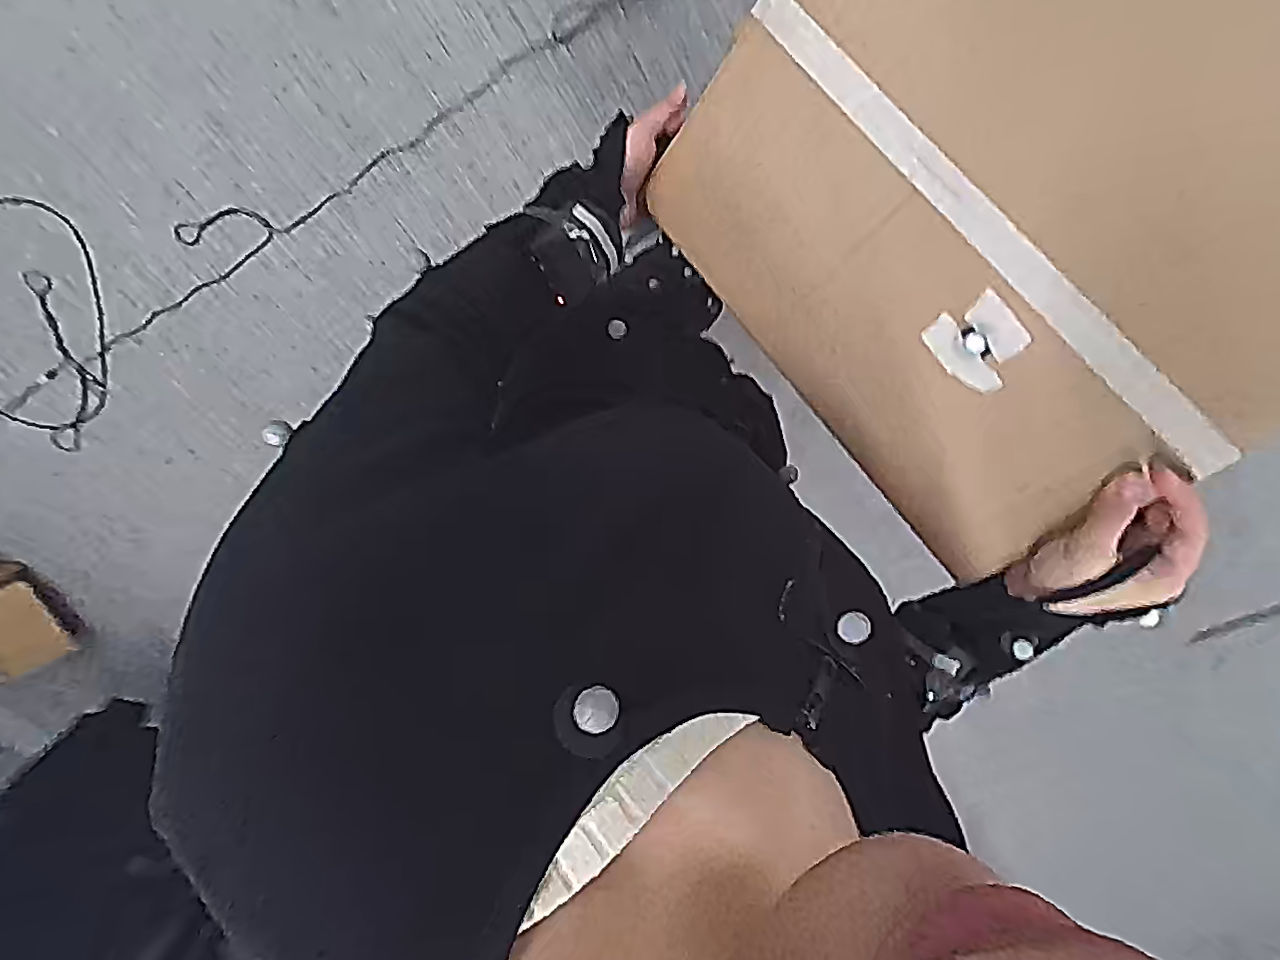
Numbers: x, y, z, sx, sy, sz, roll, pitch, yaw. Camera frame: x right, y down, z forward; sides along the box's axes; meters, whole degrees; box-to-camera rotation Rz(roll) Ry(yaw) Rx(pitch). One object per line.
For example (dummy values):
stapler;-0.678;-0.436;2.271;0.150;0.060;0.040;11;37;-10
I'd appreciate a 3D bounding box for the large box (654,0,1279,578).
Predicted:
large box;0.297;-0.200;0.473;0.408;0.320;0.320;53;127;9
